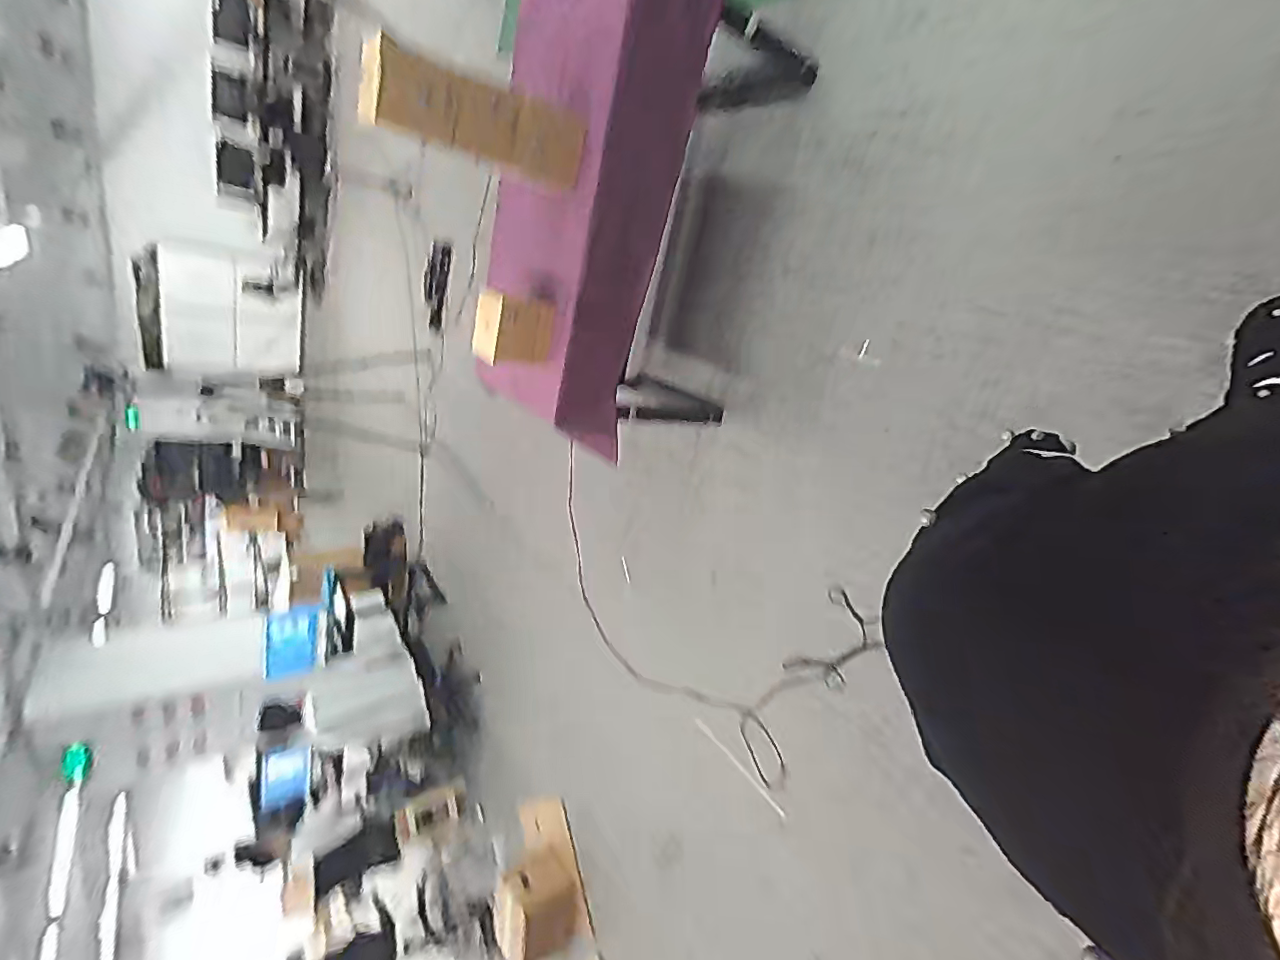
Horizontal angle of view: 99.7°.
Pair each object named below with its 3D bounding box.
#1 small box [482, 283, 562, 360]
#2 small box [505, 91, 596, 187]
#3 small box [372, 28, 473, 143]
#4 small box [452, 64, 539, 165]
[{"bbox_3d":[-0.347,-0.463,1.593,0.168,0.176,0.179,36,118,45],"label":"small box"},{"bbox_3d":[-0.238,-0.902,1.438,0.168,0.176,0.179,41,122,42],"label":"small box"},{"bbox_3d":[-0.499,-0.896,1.241,0.179,0.176,0.168,39,120,42],"label":"small box"},{"bbox_3d":[-0.370,-0.902,1.343,0.179,0.176,0.168,41,122,43],"label":"small box"}]
